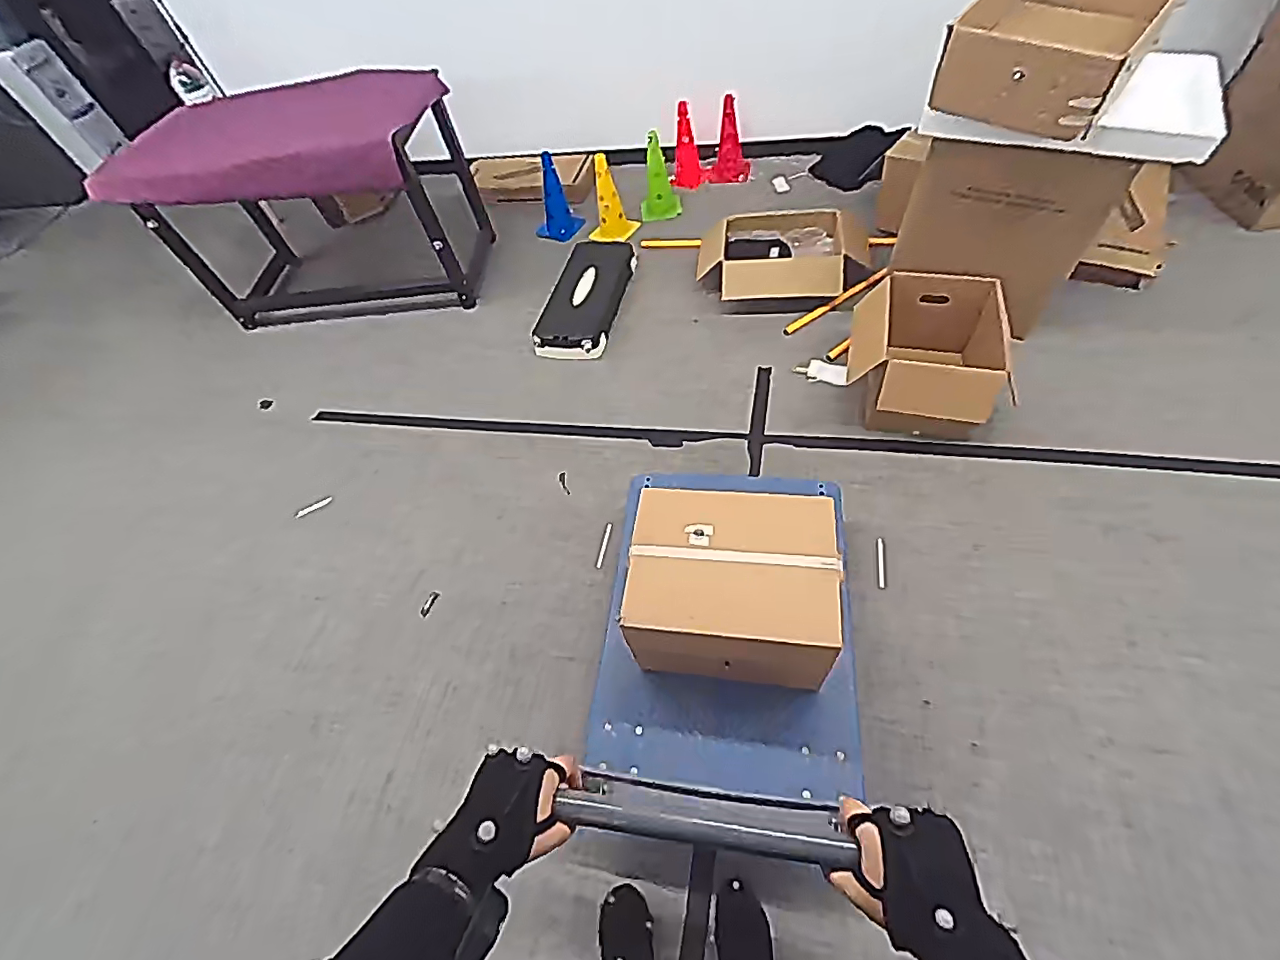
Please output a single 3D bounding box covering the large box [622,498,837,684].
[{"bbox_3d":[0.202,0.251,1.207,0.408,0.320,0.320,1,55,12],"label":"large box"}]
